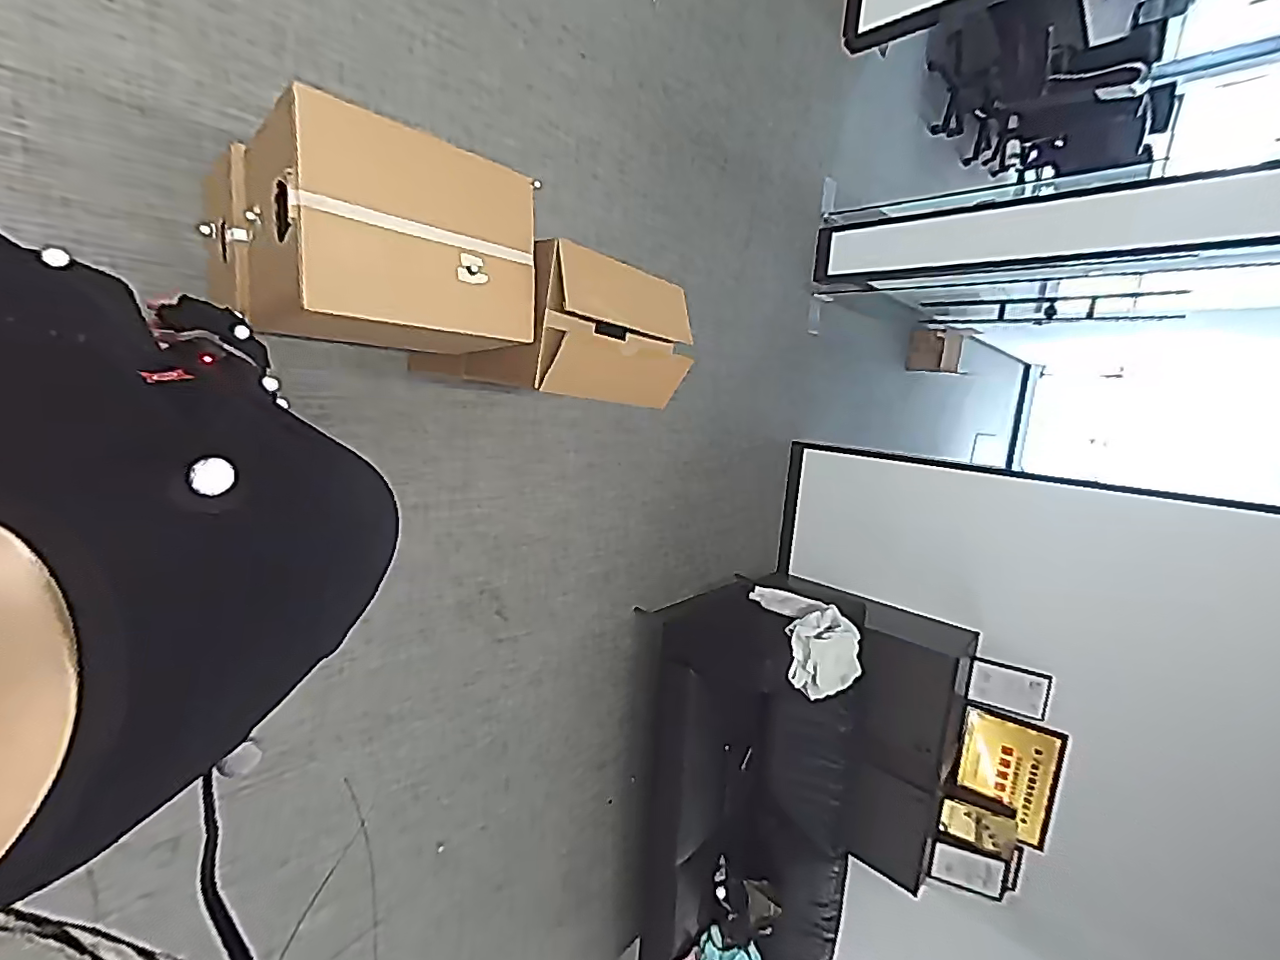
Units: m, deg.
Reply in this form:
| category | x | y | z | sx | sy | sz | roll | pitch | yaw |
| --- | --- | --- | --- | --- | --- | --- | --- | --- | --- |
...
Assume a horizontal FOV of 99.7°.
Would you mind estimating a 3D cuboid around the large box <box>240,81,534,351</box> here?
| category | x | y | z | sx | sy | sz | roll | pitch | yaw |
| --- | --- | --- | --- | --- | --- | --- | --- | --- | --- |
| large box | -0.453 | -0.425 | 0.997 | 0.408 | 0.320 | 0.320 | -5 | 99 | -47 |
